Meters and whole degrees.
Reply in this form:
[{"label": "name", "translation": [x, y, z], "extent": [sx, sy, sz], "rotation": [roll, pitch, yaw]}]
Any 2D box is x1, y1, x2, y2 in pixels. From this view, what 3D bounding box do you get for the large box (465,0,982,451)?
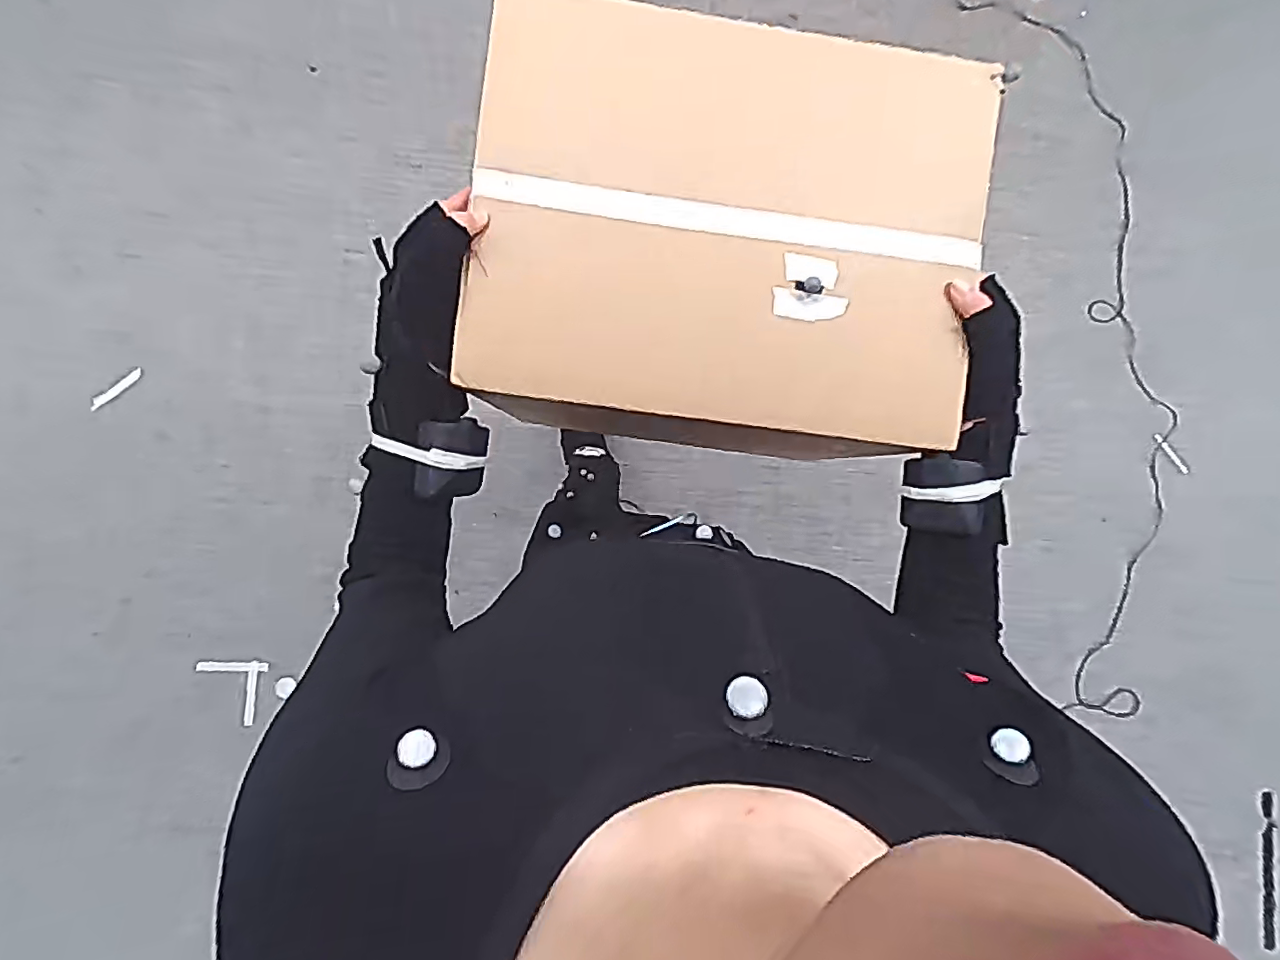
[{"label": "large box", "translation": [0.061, -0.209, 0.584], "extent": [0.408, 0.320, 0.320], "rotation": [7, 91, -4]}]
